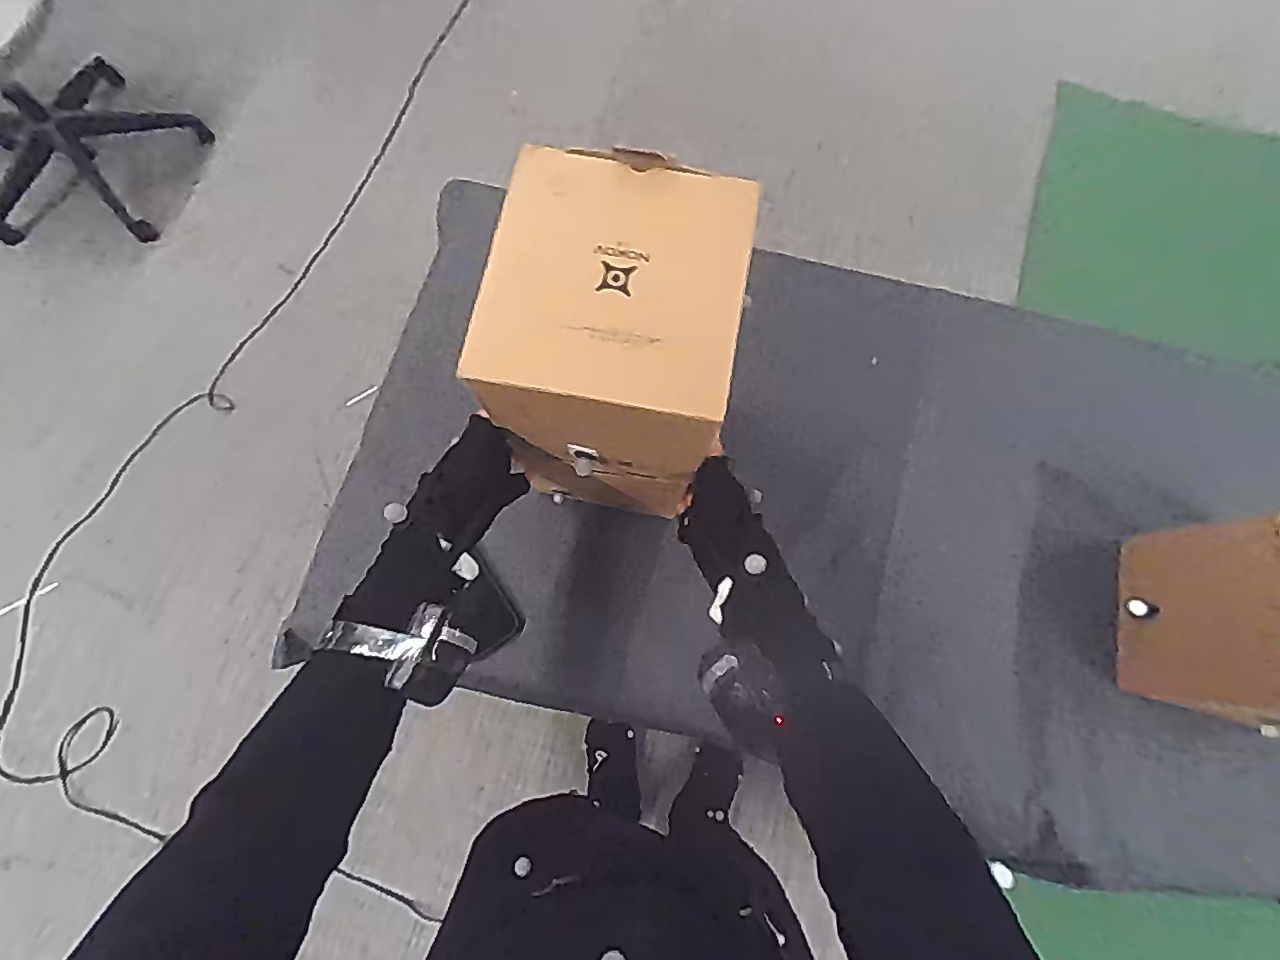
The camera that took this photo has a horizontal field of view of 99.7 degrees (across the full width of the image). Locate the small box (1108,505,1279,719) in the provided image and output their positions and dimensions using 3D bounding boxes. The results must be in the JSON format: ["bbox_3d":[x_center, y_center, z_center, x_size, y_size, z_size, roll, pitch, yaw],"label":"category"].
[{"bbox_3d":[0.626,0.143,0.550,0.168,0.176,0.179,14,76,2],"label":"small box"}]

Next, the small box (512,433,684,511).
[{"bbox_3d":[-0.024,-0.074,0.585,0.168,0.176,0.179,11,75,1],"label":"small box"}]

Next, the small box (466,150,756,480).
[{"bbox_3d":[-0.016,-0.112,0.428,0.168,0.176,0.179,9,78,1],"label":"small box"}]
